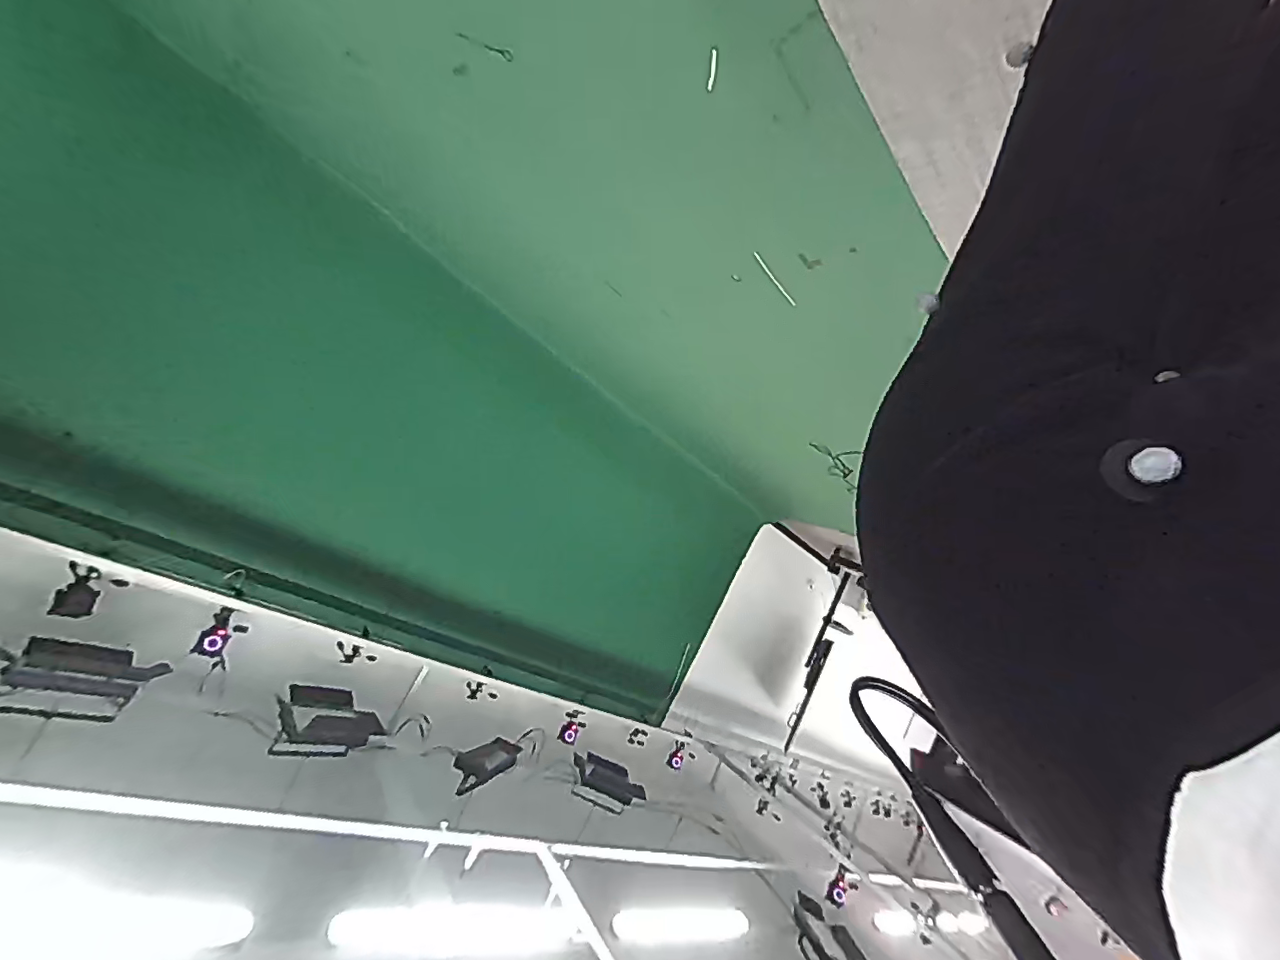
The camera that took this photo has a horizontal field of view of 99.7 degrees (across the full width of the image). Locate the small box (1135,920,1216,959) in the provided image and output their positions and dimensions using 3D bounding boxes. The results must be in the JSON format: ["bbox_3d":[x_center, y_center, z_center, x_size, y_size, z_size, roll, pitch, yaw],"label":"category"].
[{"bbox_3d":[1.529,1.399,1.528,0.168,0.176,0.179,34,170,-37],"label":"small box"}]
